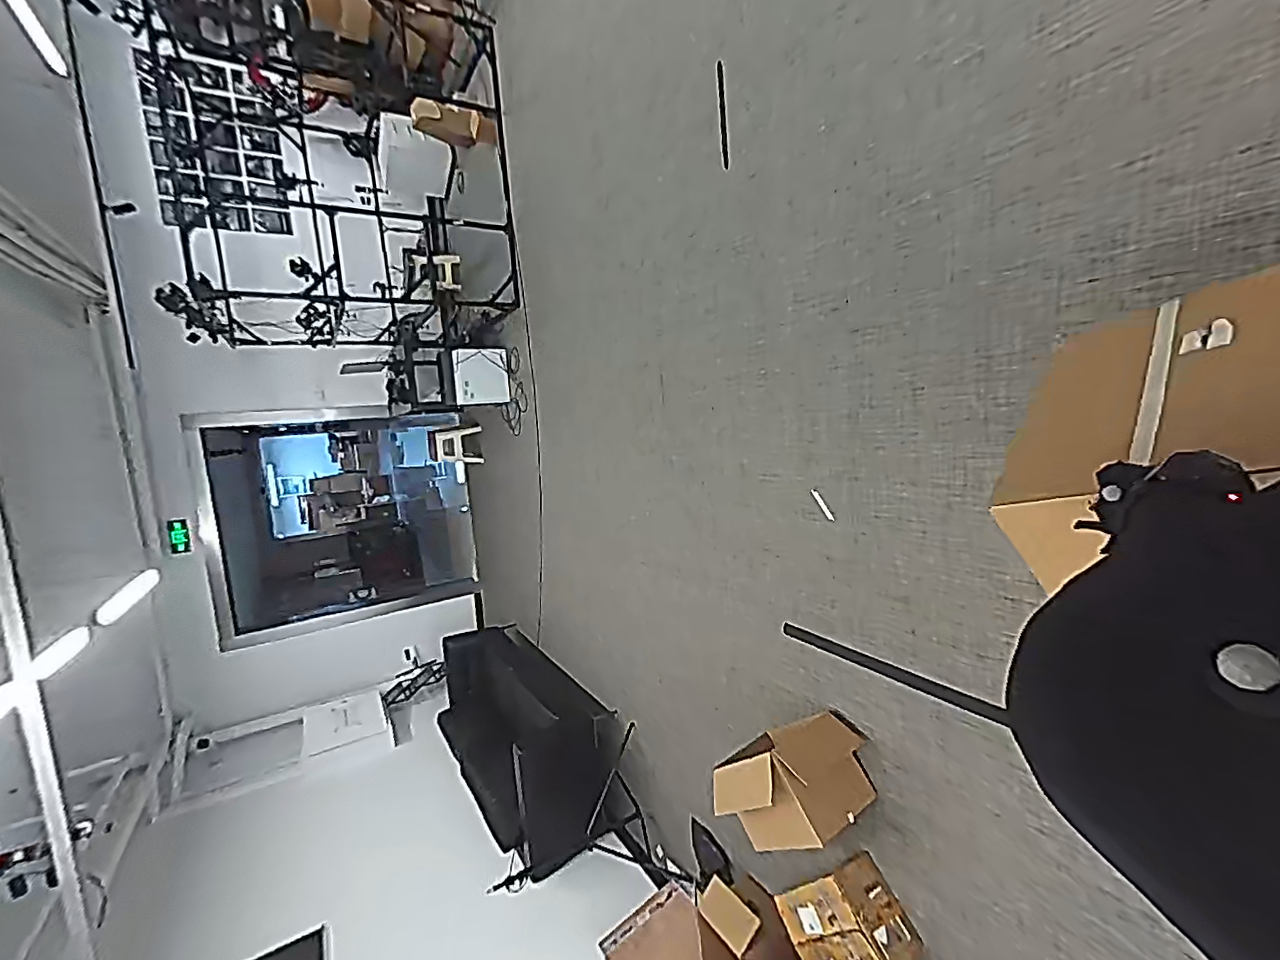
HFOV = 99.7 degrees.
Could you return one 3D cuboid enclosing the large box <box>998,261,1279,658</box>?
[{"bbox_3d":[0.758,-0.021,0.721,0.320,0.408,0.320,49,151,-15],"label":"large box"}]
